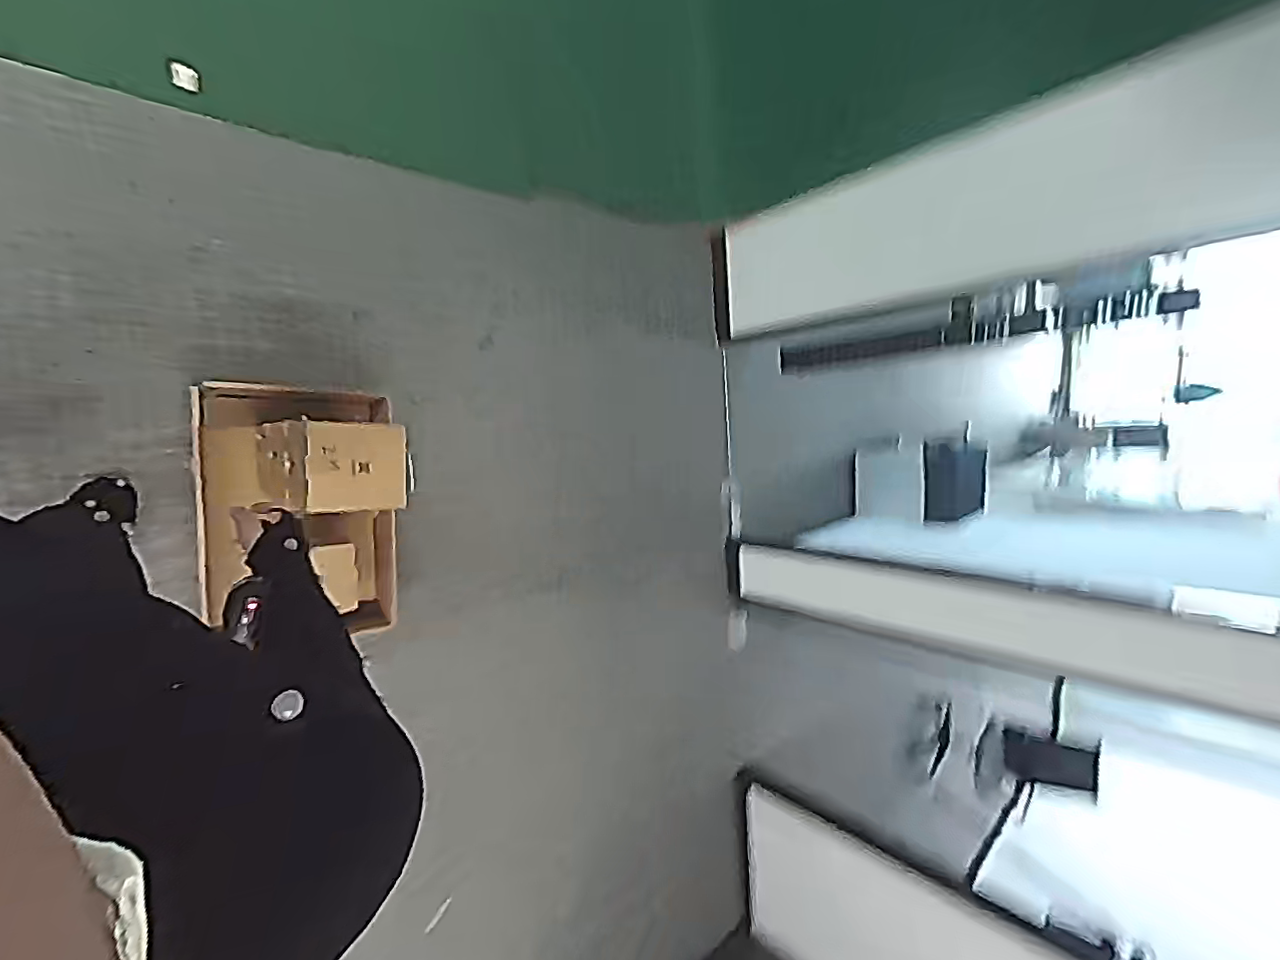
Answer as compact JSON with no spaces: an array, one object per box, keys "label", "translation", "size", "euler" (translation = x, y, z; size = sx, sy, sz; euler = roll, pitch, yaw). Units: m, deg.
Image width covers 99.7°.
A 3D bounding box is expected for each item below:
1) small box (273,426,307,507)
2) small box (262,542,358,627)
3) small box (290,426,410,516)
[{"label":"small box","translation":[-0.694,-0.032,1.197],"size":[0.179,0.176,0.168],"euler":[-1,94,-42]},{"label":"small box","translation":[-0.810,0.246,1.326],"size":[0.179,0.176,0.168],"euler":[-1,92,-41]},{"label":"small box","translation":[-0.580,-0.020,1.079],"size":[0.179,0.176,0.168],"euler":[0,93,-42]}]
